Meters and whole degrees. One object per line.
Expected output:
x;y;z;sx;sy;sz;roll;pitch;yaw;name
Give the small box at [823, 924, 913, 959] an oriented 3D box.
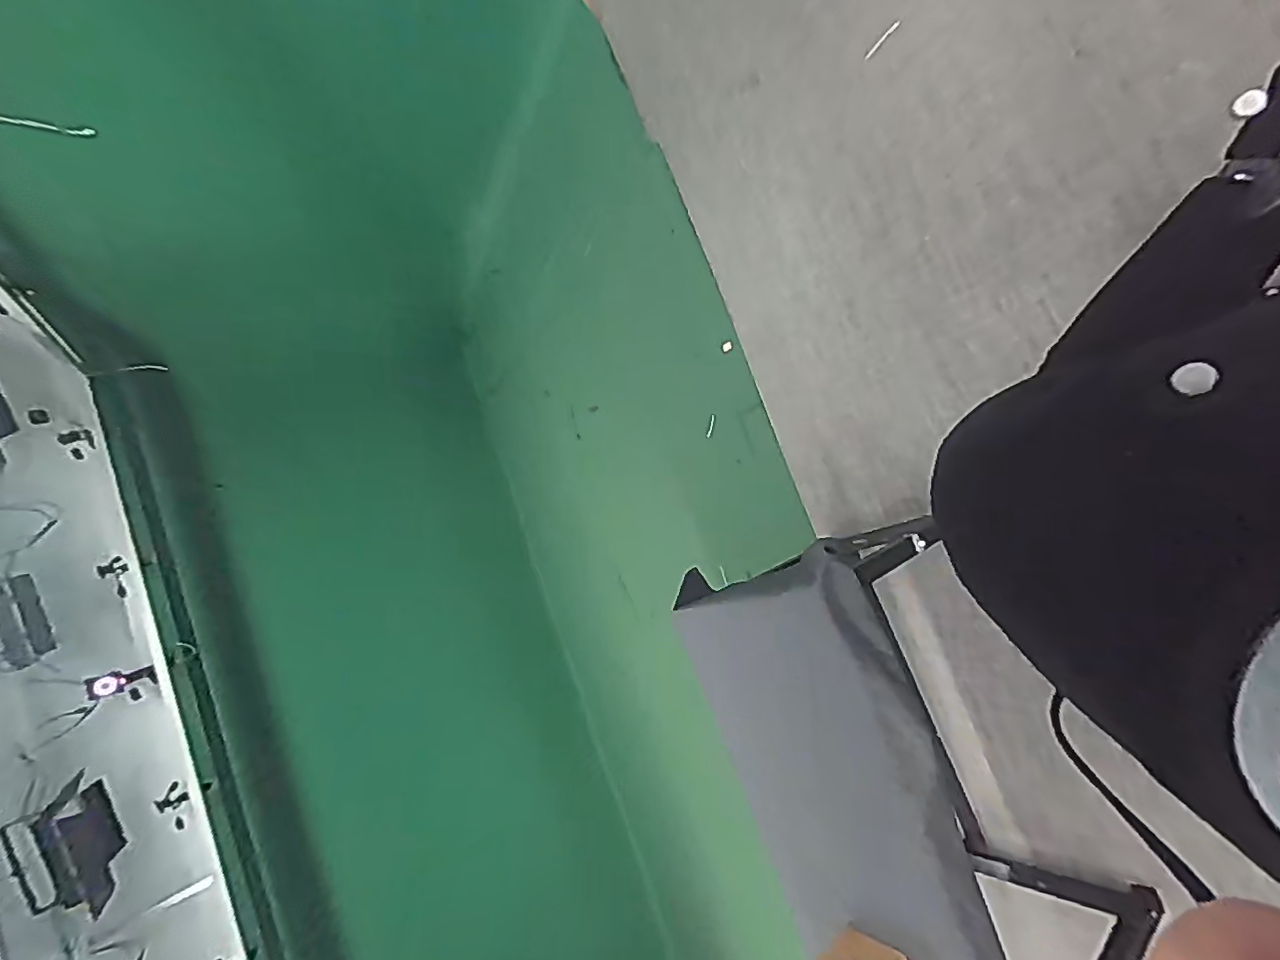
0.546;1.193;1.258;0.179;0.176;0.168;-35;75;57;small box
